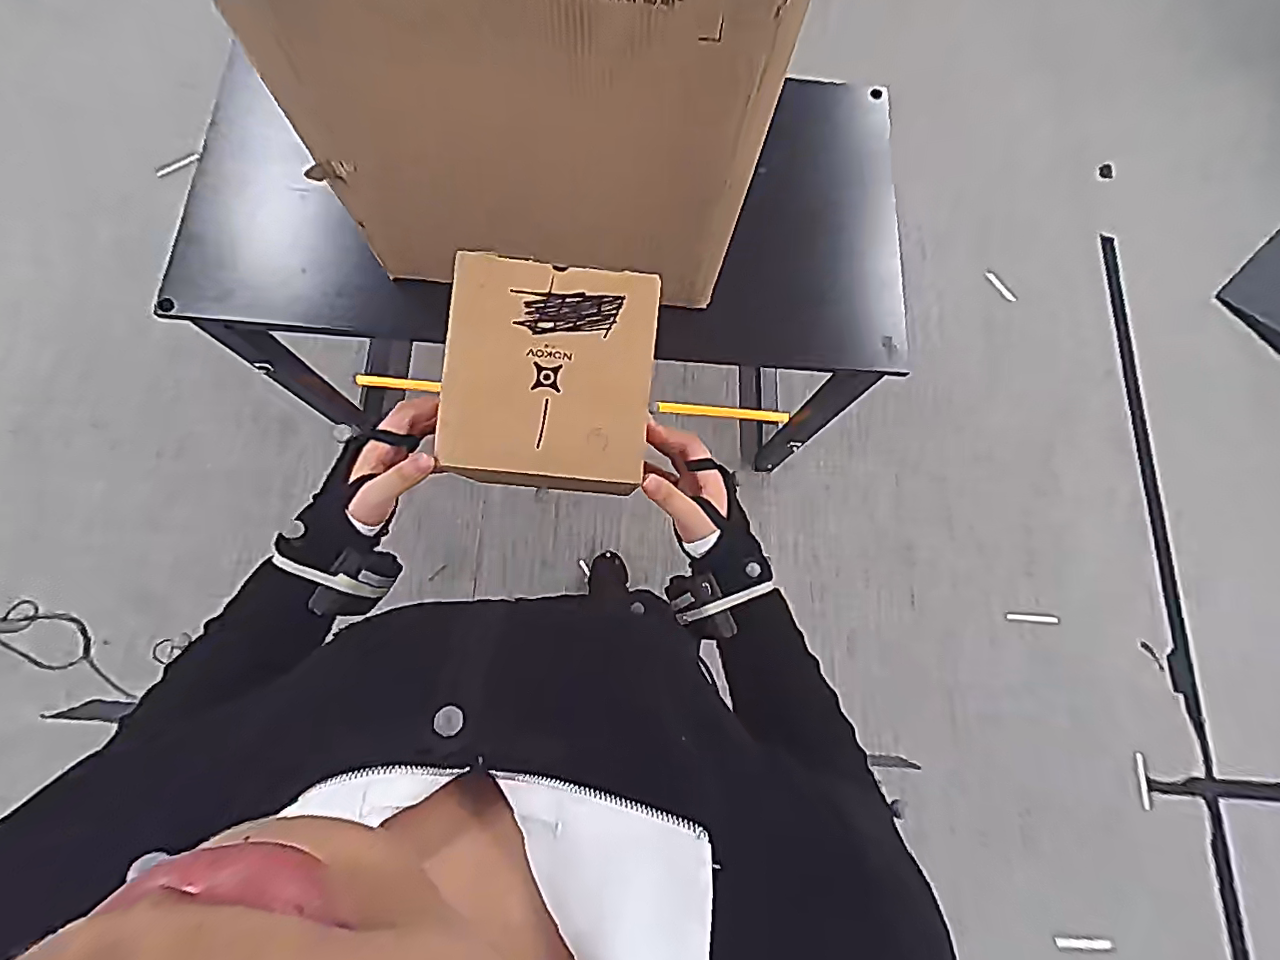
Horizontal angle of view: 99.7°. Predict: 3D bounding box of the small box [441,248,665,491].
[{"bbox_3d":[-0.073,-0.088,0.512,0.168,0.176,0.179,5,85,-3],"label":"small box"}]
